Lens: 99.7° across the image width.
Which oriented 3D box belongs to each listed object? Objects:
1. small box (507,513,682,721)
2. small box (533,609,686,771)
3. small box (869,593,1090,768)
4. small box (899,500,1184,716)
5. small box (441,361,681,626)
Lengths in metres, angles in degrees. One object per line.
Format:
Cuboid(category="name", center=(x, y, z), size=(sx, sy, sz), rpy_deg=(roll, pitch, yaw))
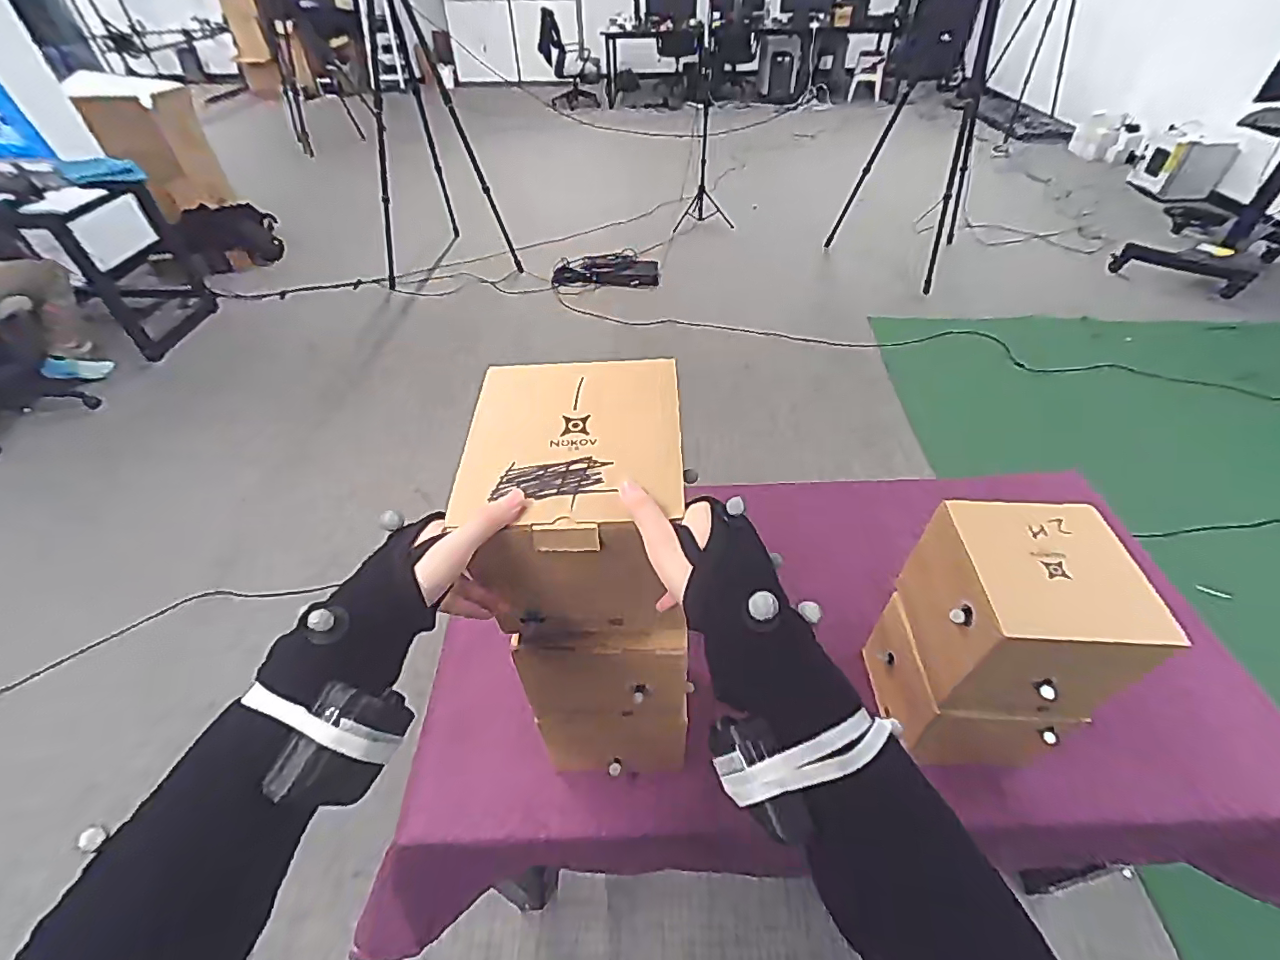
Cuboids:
Cuboid(category="small box", center=(-0.036, 0.153, 0.610), size=(0.168, 0.176, 0.179), rpy_deg=(1, 44, 3))
Cuboid(category="small box", center=(-0.033, 0.273, 0.722), size=(0.179, 0.176, 0.168), rpy_deg=(0, 44, 1))
Cuboid(category="small box", center=(0.420, 0.265, 0.714), size=(0.179, 0.176, 0.168), rpy_deg=(1, 45, 2))
Cuboid(category="small box", center=(0.415, 0.144, 0.602), size=(0.168, 0.176, 0.179), rpy_deg=(3, 45, 4))
Cuboid(category="small box", center=(-0.050, 0.018, 0.478), size=(0.168, 0.176, 0.179), rpy_deg=(-2, 48, 3))
